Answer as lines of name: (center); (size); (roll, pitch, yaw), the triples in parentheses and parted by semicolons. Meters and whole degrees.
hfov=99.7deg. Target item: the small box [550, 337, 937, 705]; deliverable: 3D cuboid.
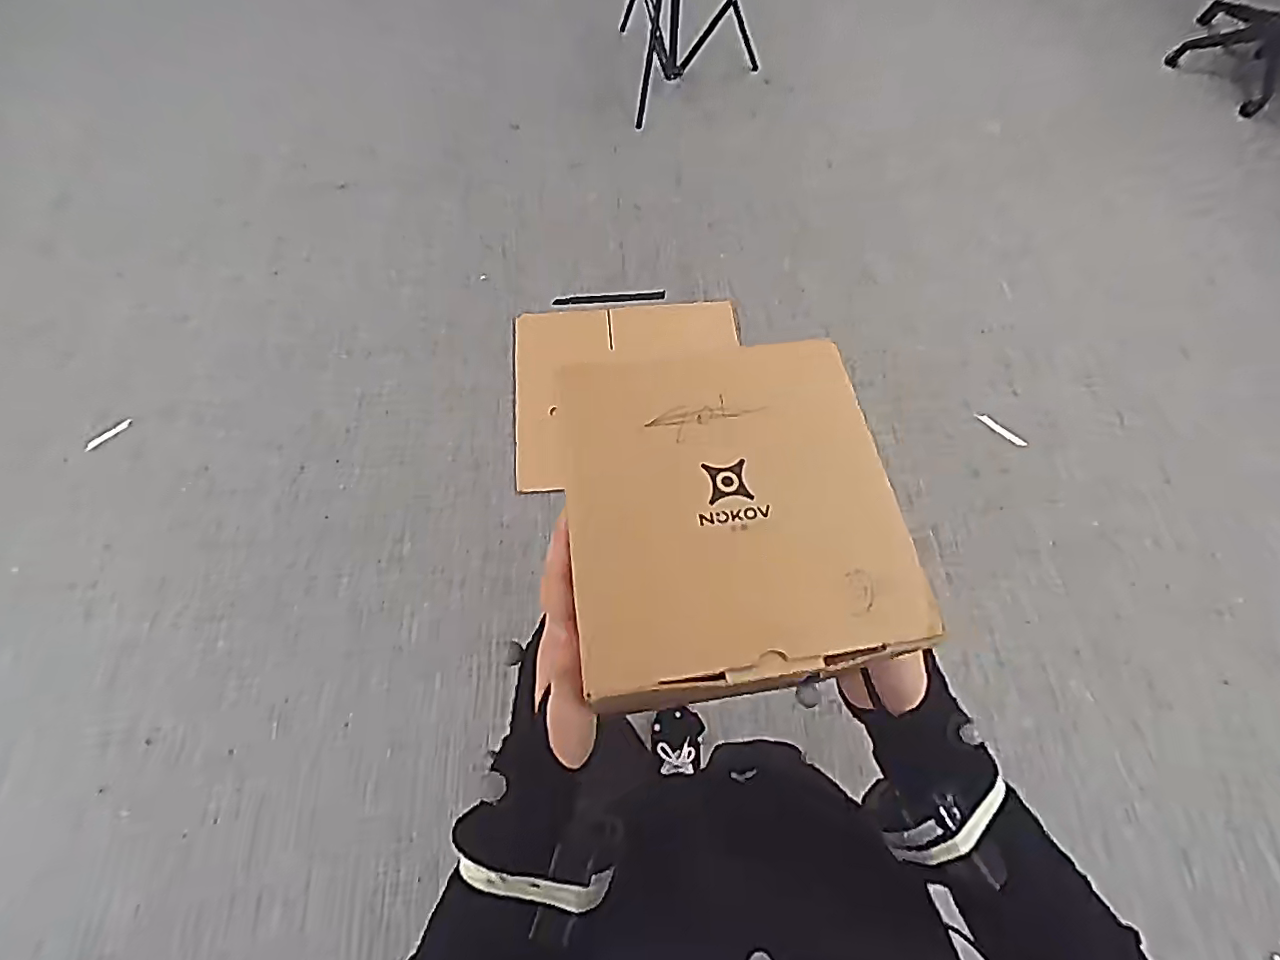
small box: (0.040, 0.038, 0.343); (0.168, 0.176, 0.179); (-8, 64, -7)
